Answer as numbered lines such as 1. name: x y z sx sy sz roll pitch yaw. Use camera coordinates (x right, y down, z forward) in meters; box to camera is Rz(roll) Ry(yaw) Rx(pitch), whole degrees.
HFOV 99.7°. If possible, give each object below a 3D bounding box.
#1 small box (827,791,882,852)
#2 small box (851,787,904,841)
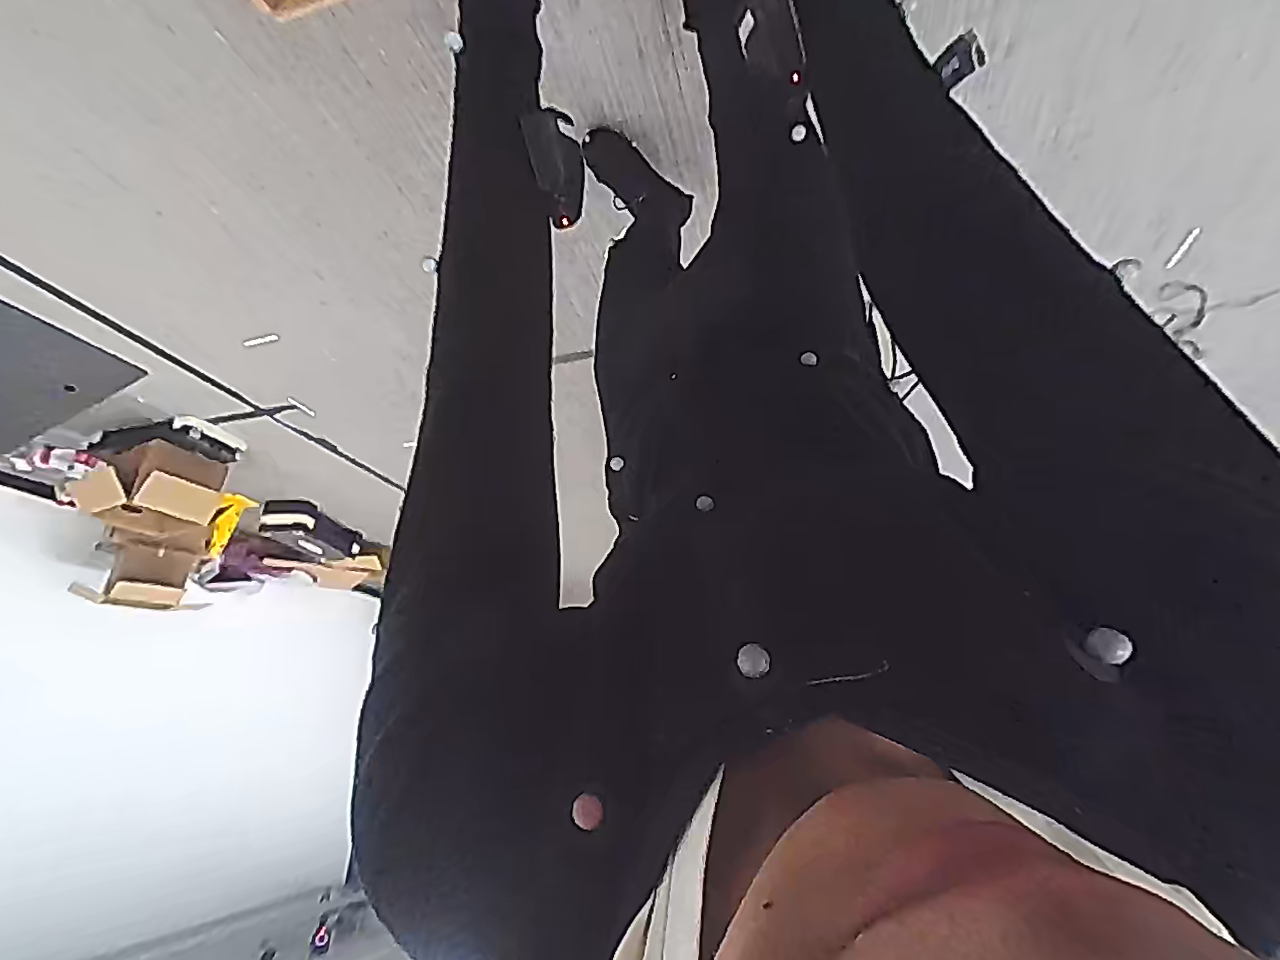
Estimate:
1. small box: 0.808 1.287 2.052 0.179 0.176 0.168 -7 156 18
2. small box: 0.970 1.367 2.220 0.168 0.176 0.179 -7 155 15
